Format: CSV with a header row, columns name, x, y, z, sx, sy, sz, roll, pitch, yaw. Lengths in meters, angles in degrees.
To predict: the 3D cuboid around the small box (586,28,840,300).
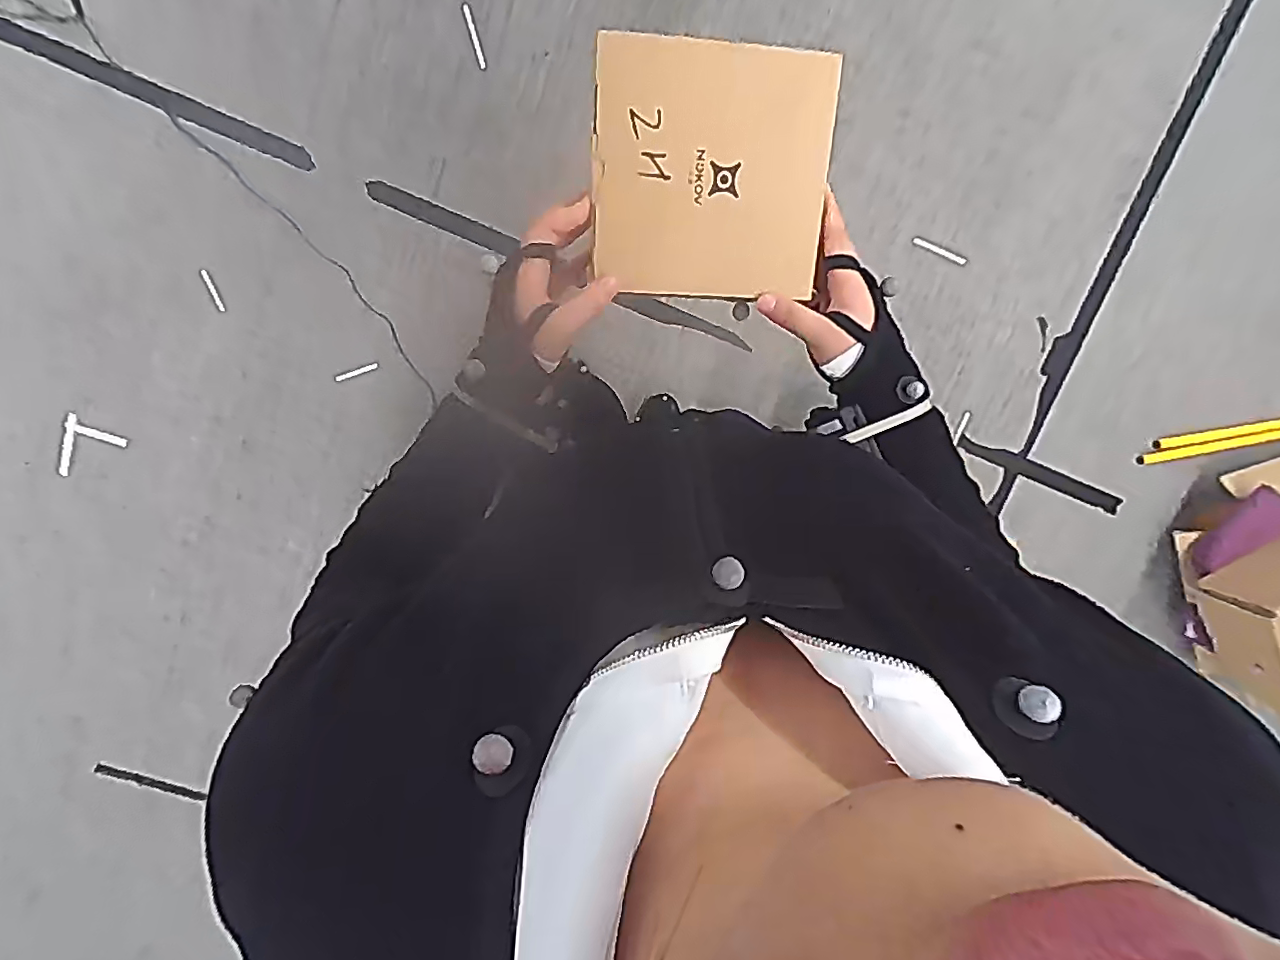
name,x,y,z,sx,sy,sz,roll,pitch,yaw
small box,0.043,-0.249,0.470,0.179,0.176,0.168,1,108,-6
